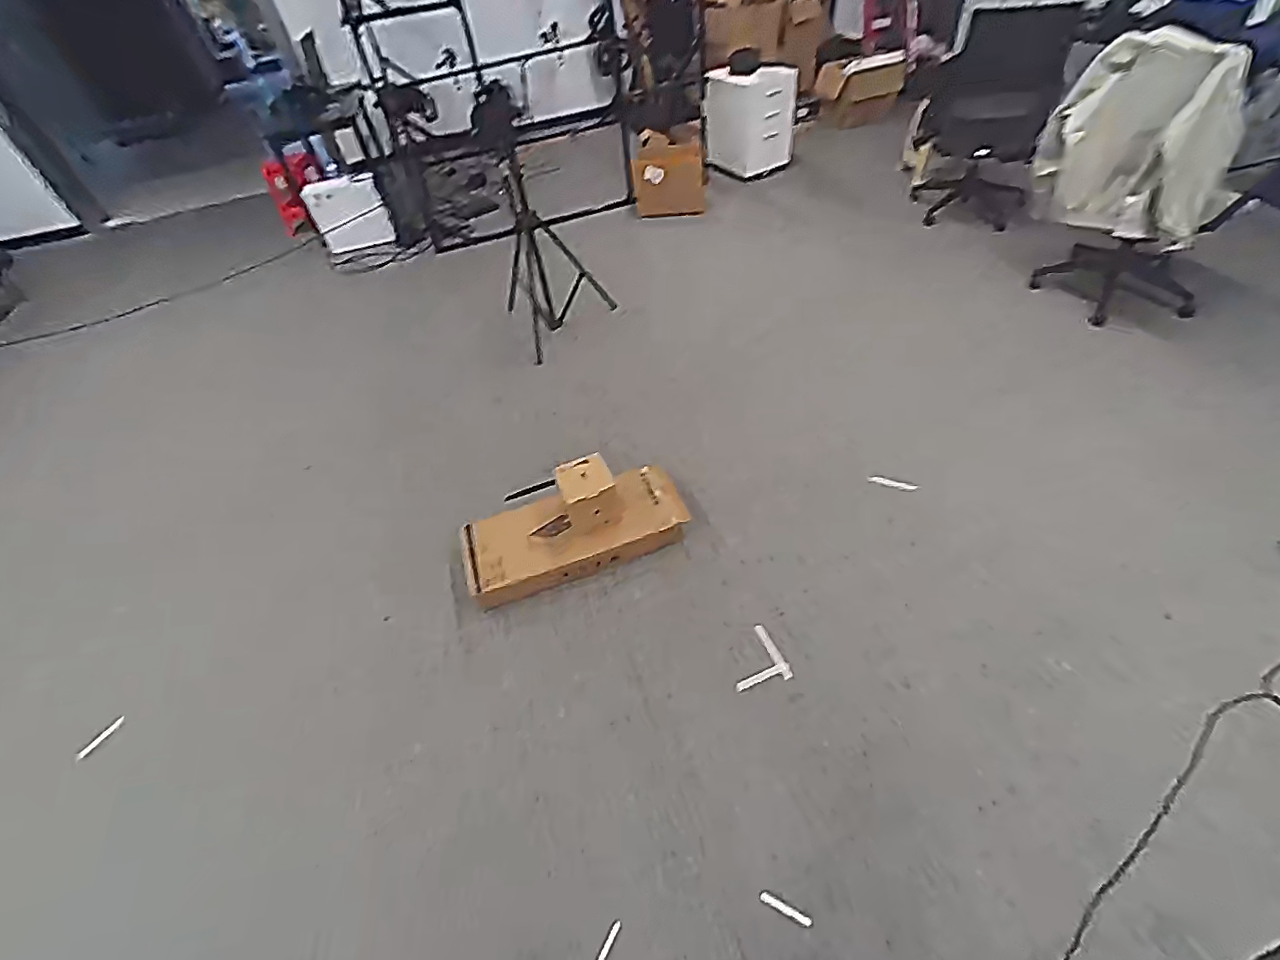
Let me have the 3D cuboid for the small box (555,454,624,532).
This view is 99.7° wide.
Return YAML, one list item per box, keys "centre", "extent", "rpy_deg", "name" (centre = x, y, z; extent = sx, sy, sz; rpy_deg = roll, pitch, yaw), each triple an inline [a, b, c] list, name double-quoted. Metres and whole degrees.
- centre: [-0.163, 0.050, 1.784]
  extent: [0.168, 0.176, 0.179]
  rpy_deg: [-20, 48, -10]
  name: "small box"
